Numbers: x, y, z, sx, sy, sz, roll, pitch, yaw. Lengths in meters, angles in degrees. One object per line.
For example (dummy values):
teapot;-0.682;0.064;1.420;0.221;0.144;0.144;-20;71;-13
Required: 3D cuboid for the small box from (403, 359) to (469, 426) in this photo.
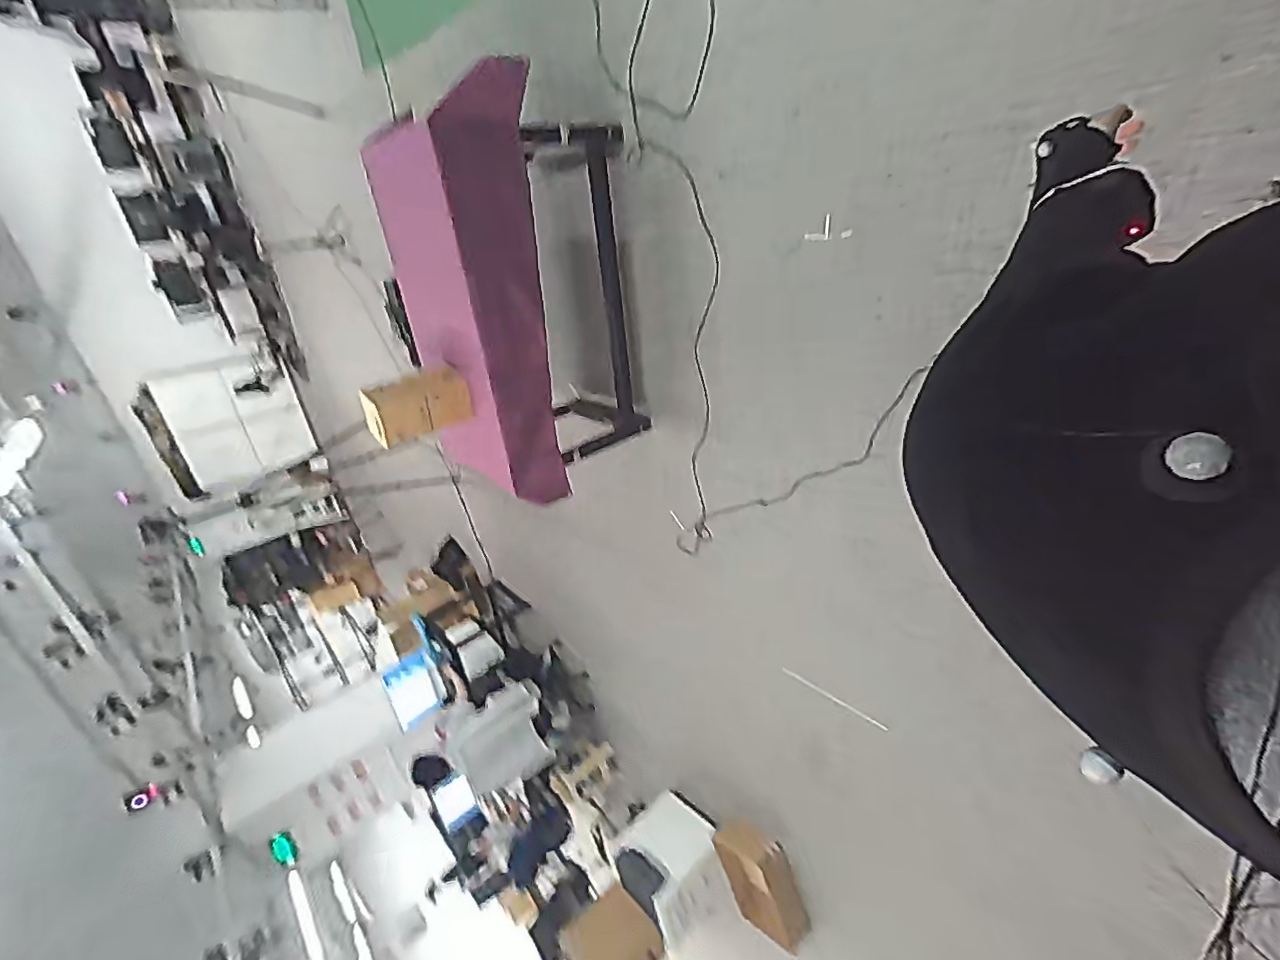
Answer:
small box;-0.750;-0.329;2.009;0.168;0.176;0.179;34;134;36
